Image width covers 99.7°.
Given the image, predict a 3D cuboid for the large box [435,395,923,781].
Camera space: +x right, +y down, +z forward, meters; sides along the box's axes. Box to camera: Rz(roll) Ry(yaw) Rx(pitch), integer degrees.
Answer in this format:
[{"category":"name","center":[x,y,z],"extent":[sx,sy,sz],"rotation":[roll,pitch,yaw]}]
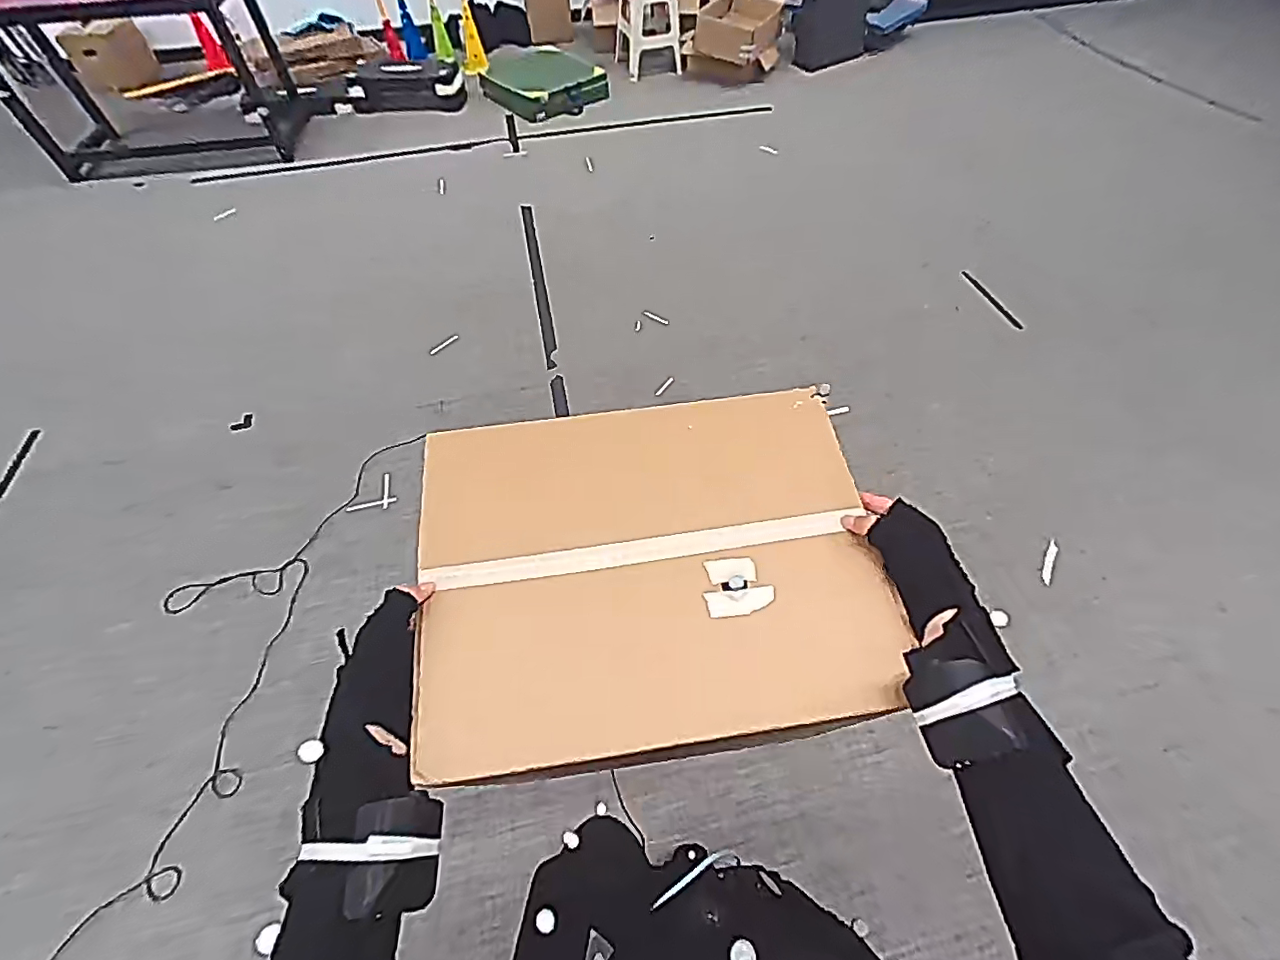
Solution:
[{"category":"large box","center":[0.013,0.139,0.624],"extent":[0.408,0.320,0.320],"rotation":[-7,62,-5]}]
